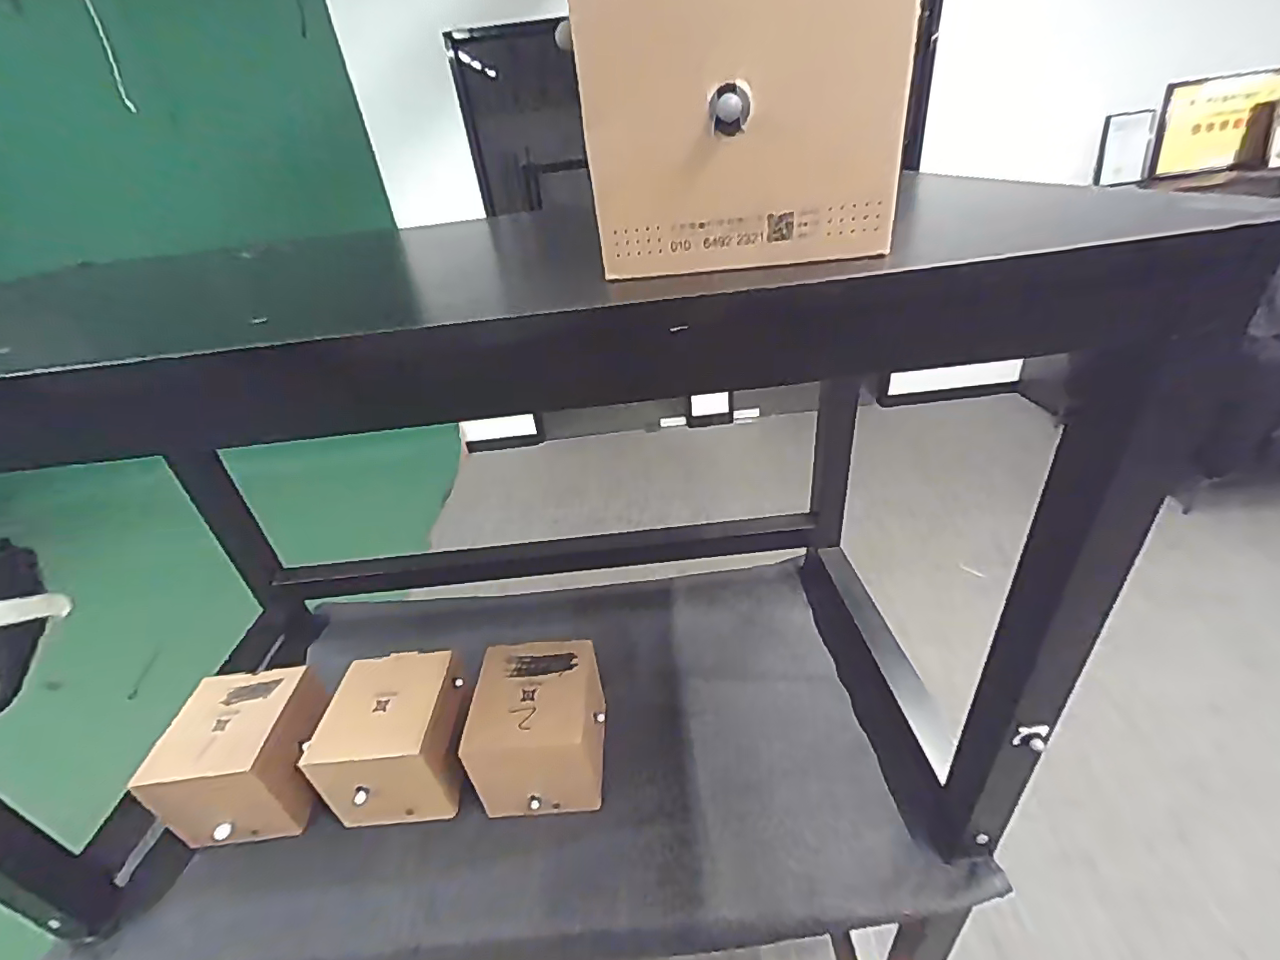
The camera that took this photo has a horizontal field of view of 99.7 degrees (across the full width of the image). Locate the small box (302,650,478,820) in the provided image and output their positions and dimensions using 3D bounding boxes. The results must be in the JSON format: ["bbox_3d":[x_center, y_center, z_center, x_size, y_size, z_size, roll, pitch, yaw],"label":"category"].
[{"bbox_3d":[-0.360,0.388,0.820,0.168,0.176,0.179,-6,30,2],"label":"small box"}]

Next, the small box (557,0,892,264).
[{"bbox_3d":[0.056,-0.242,0.350,0.168,0.176,0.179,-1,31,9],"label":"small box"}]

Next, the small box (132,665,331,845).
[{"bbox_3d":[-0.585,0.413,0.821,0.168,0.176,0.179,-7,31,0],"label":"small box"}]
